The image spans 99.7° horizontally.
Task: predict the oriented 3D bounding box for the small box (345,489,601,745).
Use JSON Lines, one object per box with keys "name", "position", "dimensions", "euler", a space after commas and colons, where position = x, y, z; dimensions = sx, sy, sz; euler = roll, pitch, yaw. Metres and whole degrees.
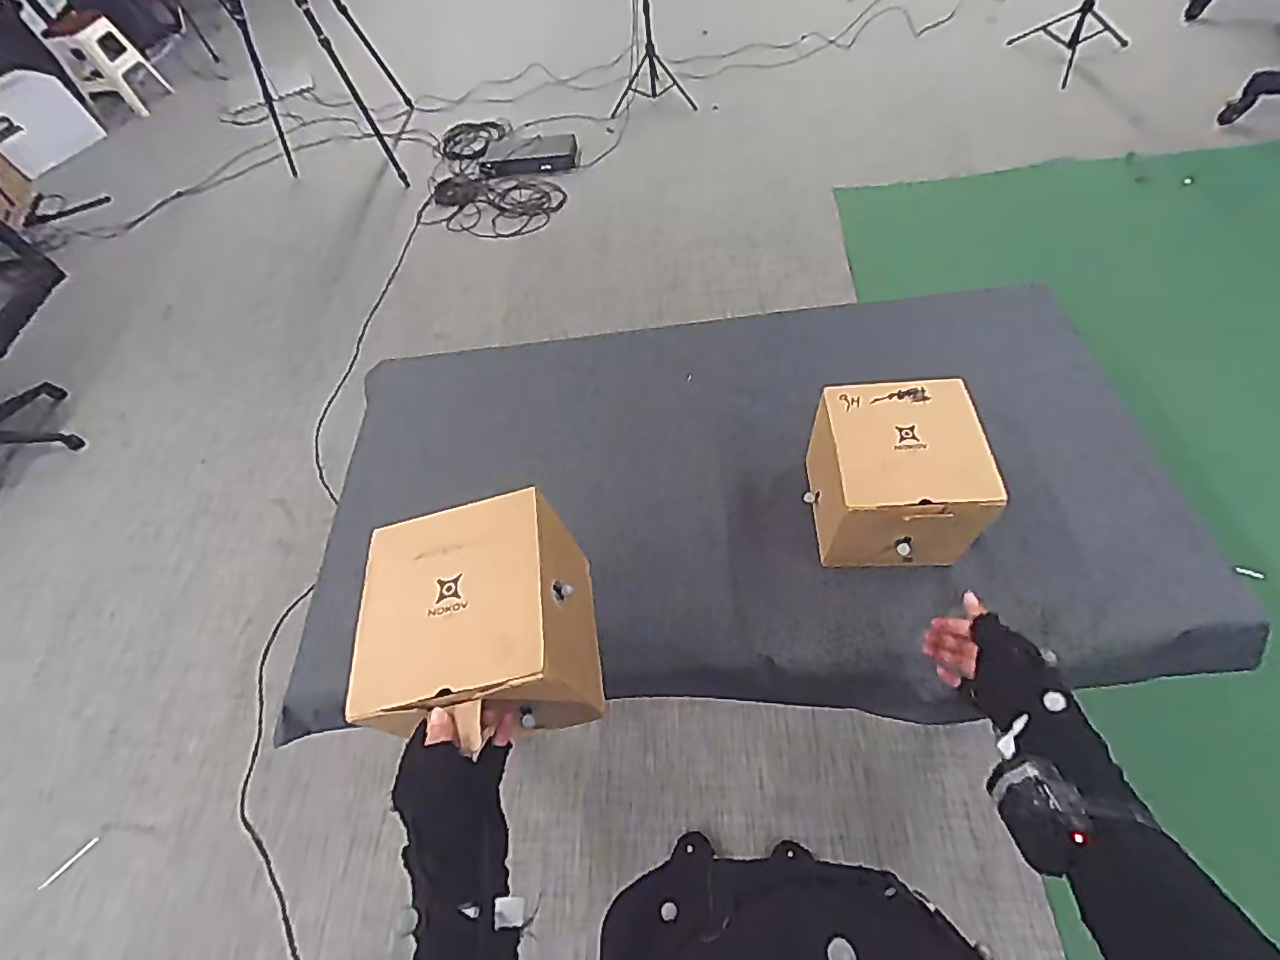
{"name": "small box", "position": [-0.143, 0.141, 0.517], "dimensions": [0.168, 0.176, 0.179], "euler": [-15, 53, 4]}
